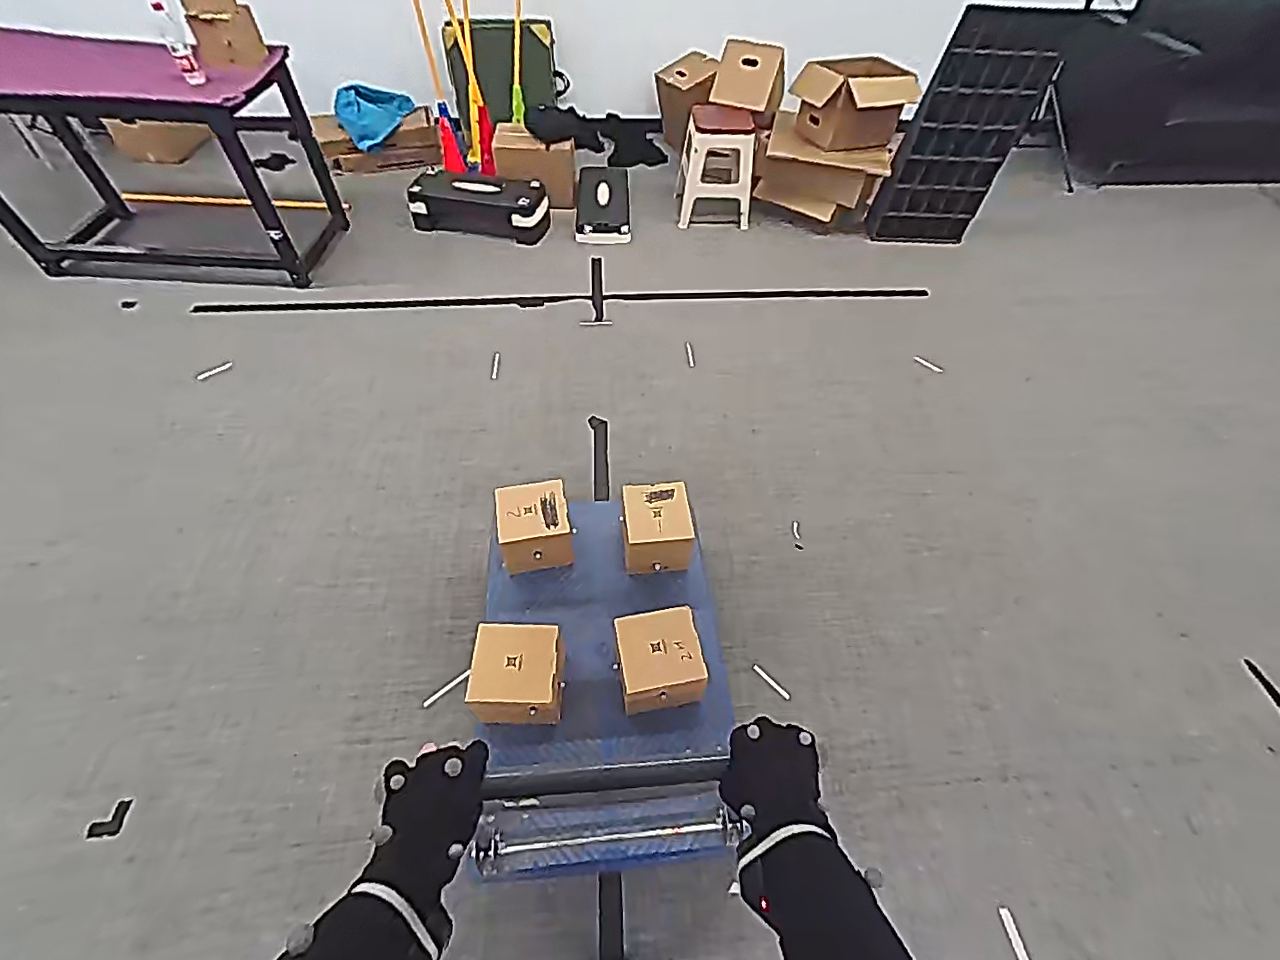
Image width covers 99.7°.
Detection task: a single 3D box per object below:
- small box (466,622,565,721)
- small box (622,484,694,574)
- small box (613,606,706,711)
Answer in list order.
[{"bbox_3d":[-0.267,0.429,1.199,0.179,0.176,0.168,2,53,-2],"label":"small box"},{"bbox_3d":[0.042,0.131,1.436,0.168,0.176,0.179,-4,54,-5],"label":"small box"},{"bbox_3d":[0.039,0.409,1.225,0.179,0.176,0.168,-8,54,-8],"label":"small box"}]
